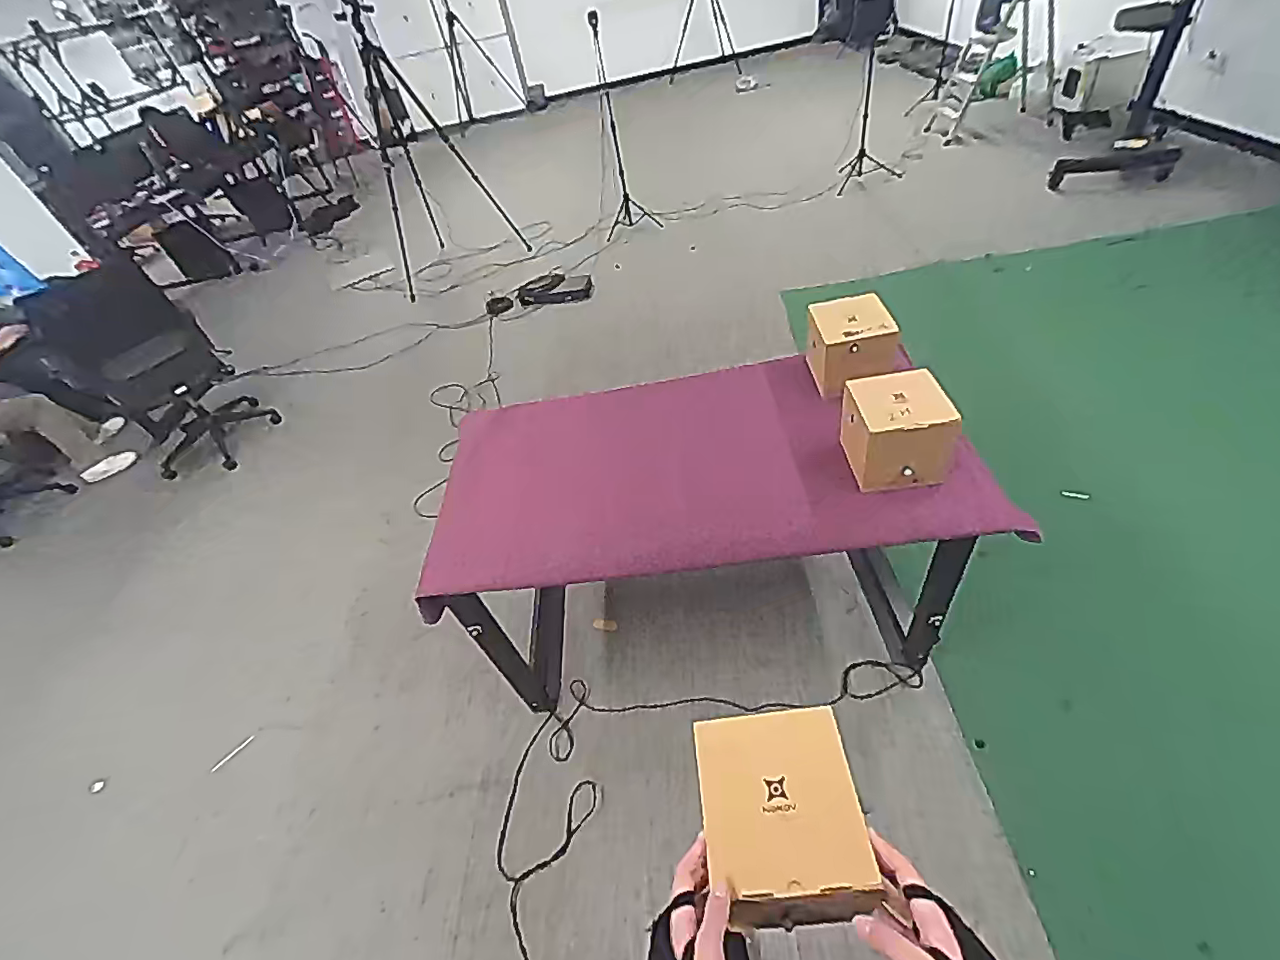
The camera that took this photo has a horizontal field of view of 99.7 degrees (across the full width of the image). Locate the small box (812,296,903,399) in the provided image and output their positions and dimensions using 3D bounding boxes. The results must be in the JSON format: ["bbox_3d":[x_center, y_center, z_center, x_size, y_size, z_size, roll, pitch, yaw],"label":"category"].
[{"bbox_3d":[0.528,-0.327,1.340,0.168,0.176,0.179,-9,46,8],"label":"small box"}]

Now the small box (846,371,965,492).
[{"bbox_3d":[0.533,-0.098,1.114,0.168,0.176,0.179,-8,44,9],"label":"small box"}]

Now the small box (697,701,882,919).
[{"bbox_3d":[0.164,0.388,0.636,0.168,0.176,0.179,-10,43,7],"label":"small box"}]
